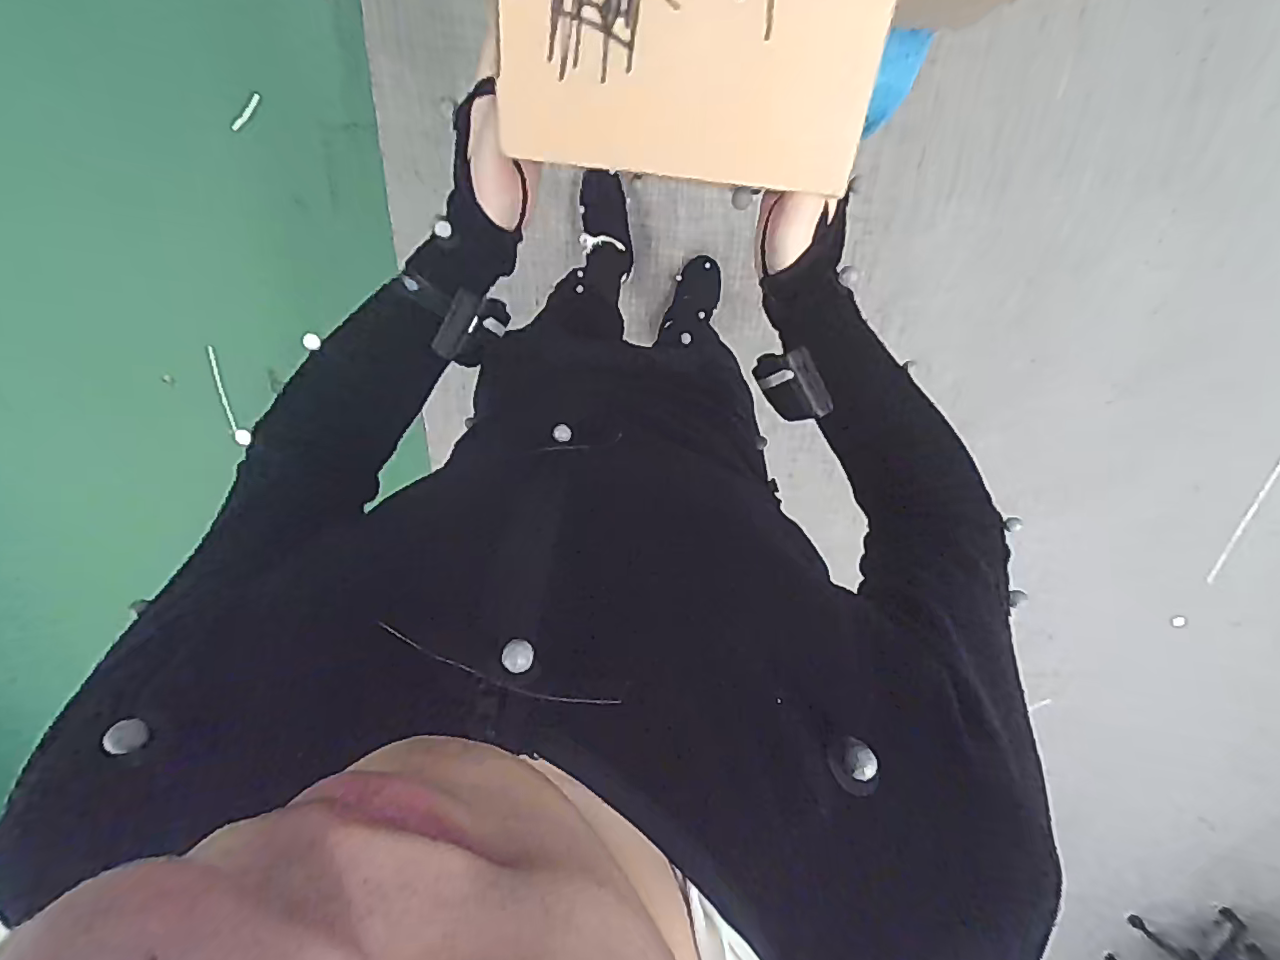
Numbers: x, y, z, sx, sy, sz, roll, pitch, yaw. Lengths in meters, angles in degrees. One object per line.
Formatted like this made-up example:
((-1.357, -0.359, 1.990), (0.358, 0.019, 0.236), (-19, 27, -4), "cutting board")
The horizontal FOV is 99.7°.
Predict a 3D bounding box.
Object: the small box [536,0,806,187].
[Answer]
((0.019, -0.346, 0.434), (0.179, 0.176, 0.168), (7, 121, -5), "small box")
